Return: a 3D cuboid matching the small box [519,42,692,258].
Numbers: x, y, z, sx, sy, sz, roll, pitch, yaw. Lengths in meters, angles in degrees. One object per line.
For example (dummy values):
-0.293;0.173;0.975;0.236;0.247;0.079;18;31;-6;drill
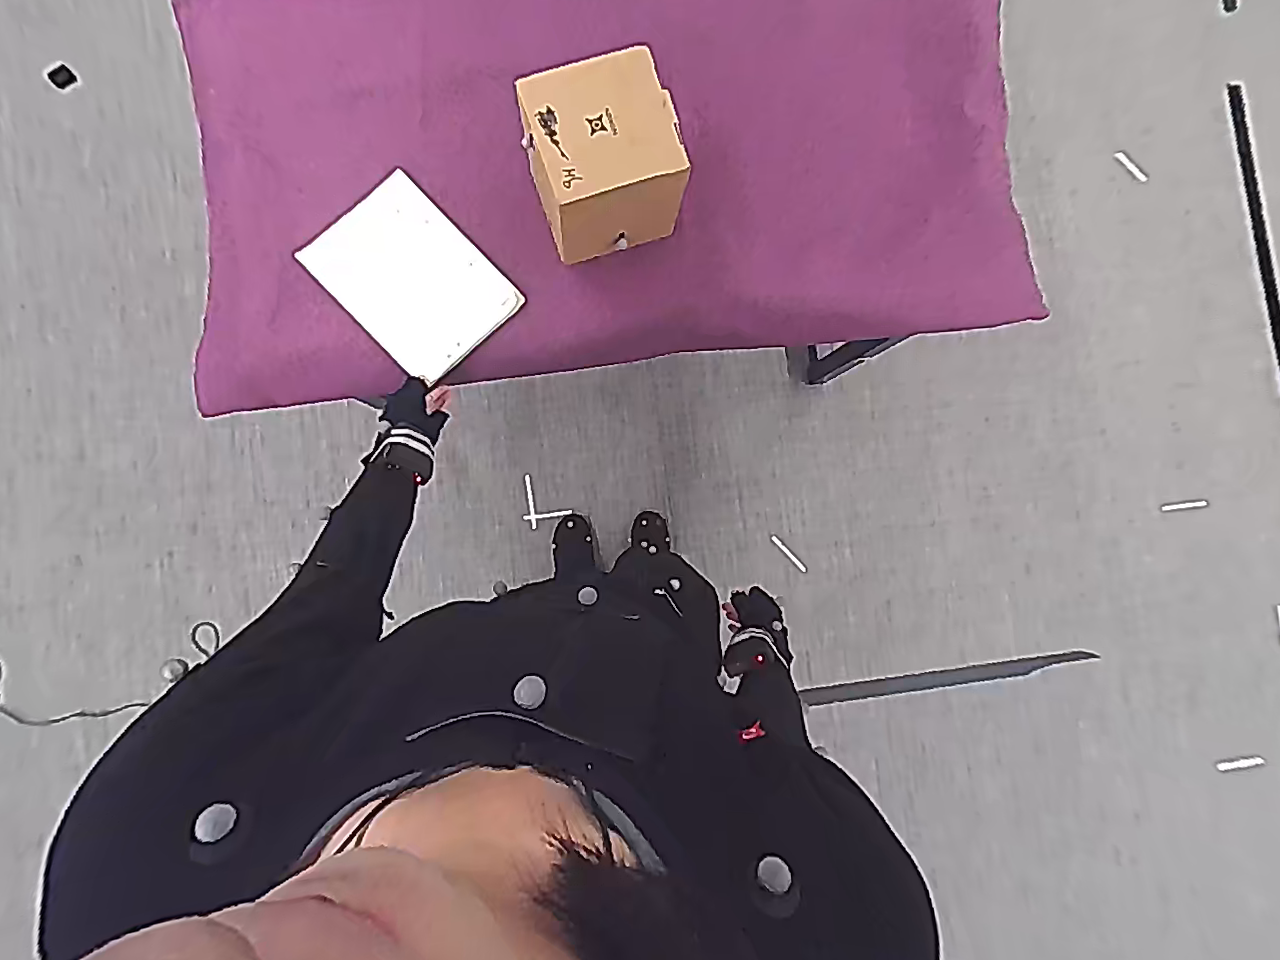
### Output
-0.050;-0.434;0.736;0.179;0.176;0.168;-19;88;-6;small box
